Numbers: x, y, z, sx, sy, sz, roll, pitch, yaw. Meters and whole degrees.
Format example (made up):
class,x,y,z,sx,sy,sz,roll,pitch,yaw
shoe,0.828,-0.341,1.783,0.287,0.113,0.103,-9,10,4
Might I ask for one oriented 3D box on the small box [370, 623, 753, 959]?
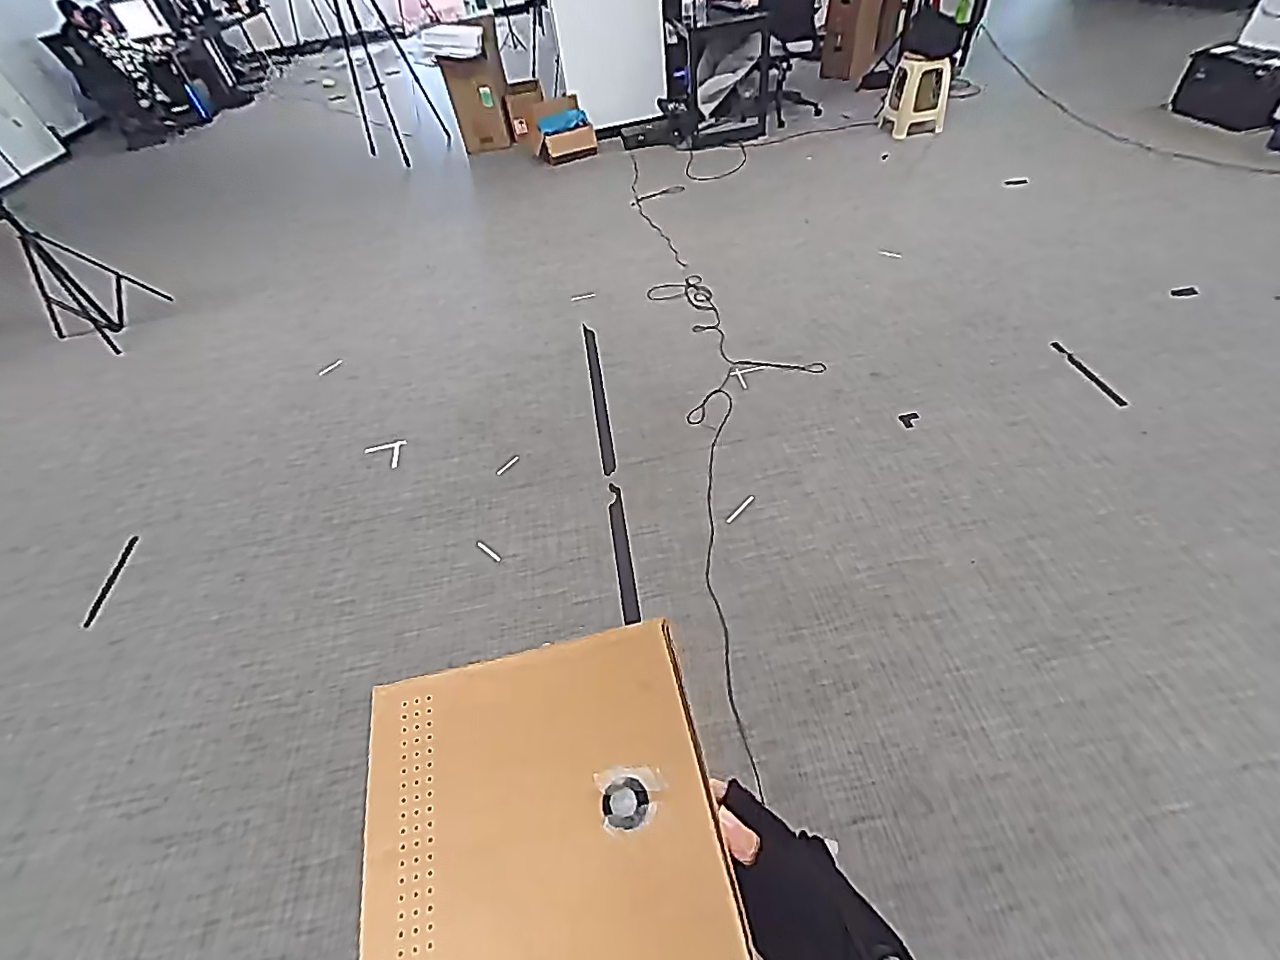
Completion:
class,x,y,z,sx,sy,sz,roll,pitch,yaw
small box,-0.041,0.213,0.326,0.176,0.168,0.179,-14,56,-1
